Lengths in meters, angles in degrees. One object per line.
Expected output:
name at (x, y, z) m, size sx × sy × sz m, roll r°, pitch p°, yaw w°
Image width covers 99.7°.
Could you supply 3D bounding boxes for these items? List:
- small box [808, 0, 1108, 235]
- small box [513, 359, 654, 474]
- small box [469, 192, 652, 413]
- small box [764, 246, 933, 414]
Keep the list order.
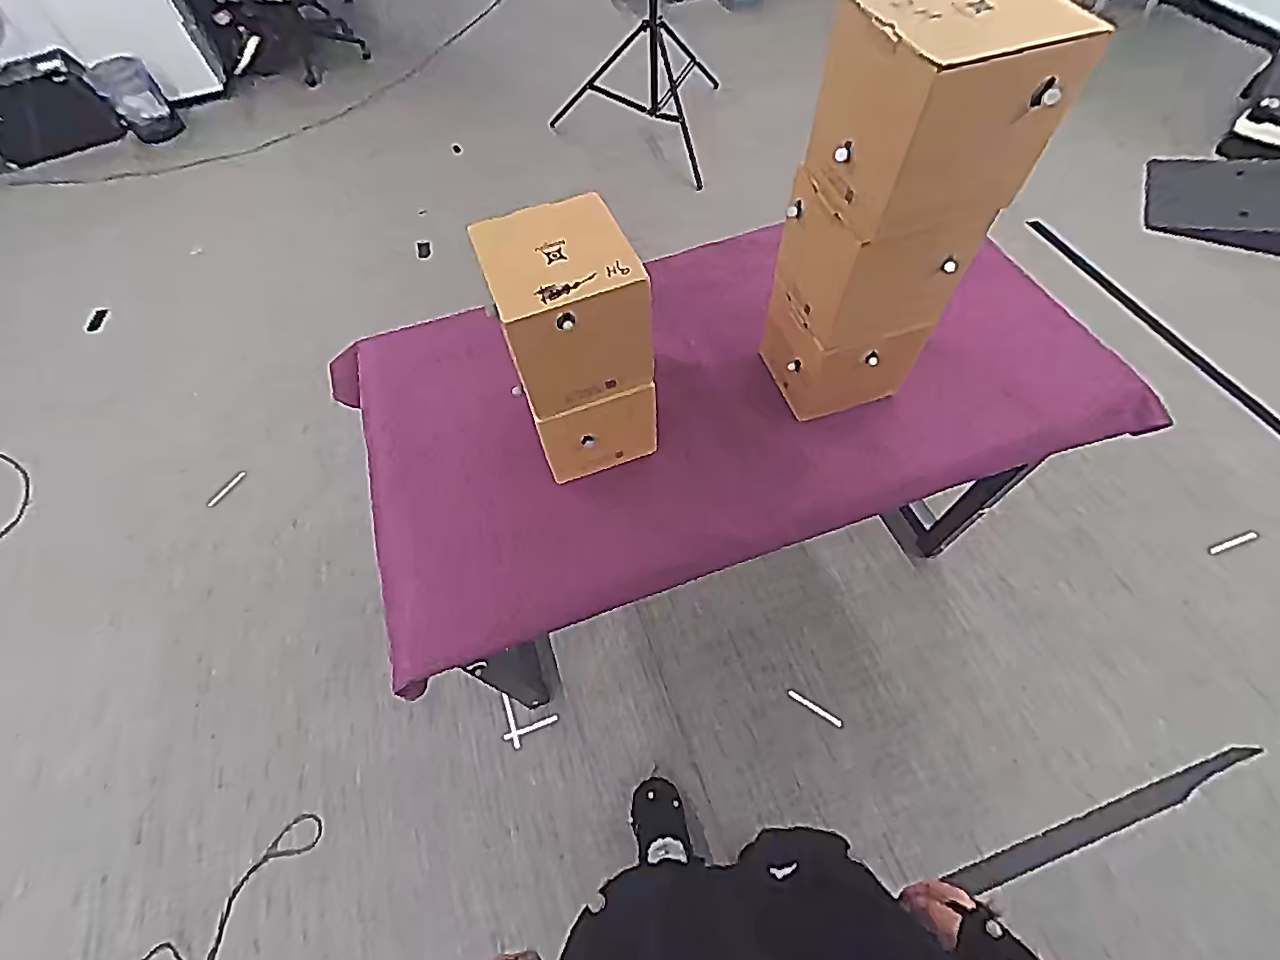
small box at (0.302, -0.390, 0.561) m, size 0.179 × 0.176 × 0.168 m, roll -18°, pitch 61°, yaw -6°
small box at (-0.083, -0.129, 0.814) m, size 0.168 × 0.176 × 0.179 m, roll -19°, pitch 61°, yaw -8°
small box at (-0.093, -0.217, 0.676) m, size 0.168 × 0.176 × 0.179 m, roll -21°, pitch 60°, yaw -8°
small box at (0.307, -0.228, 0.848) m, size 0.179 × 0.176 × 0.168 m, roll -17°, pitch 62°, yaw -7°
